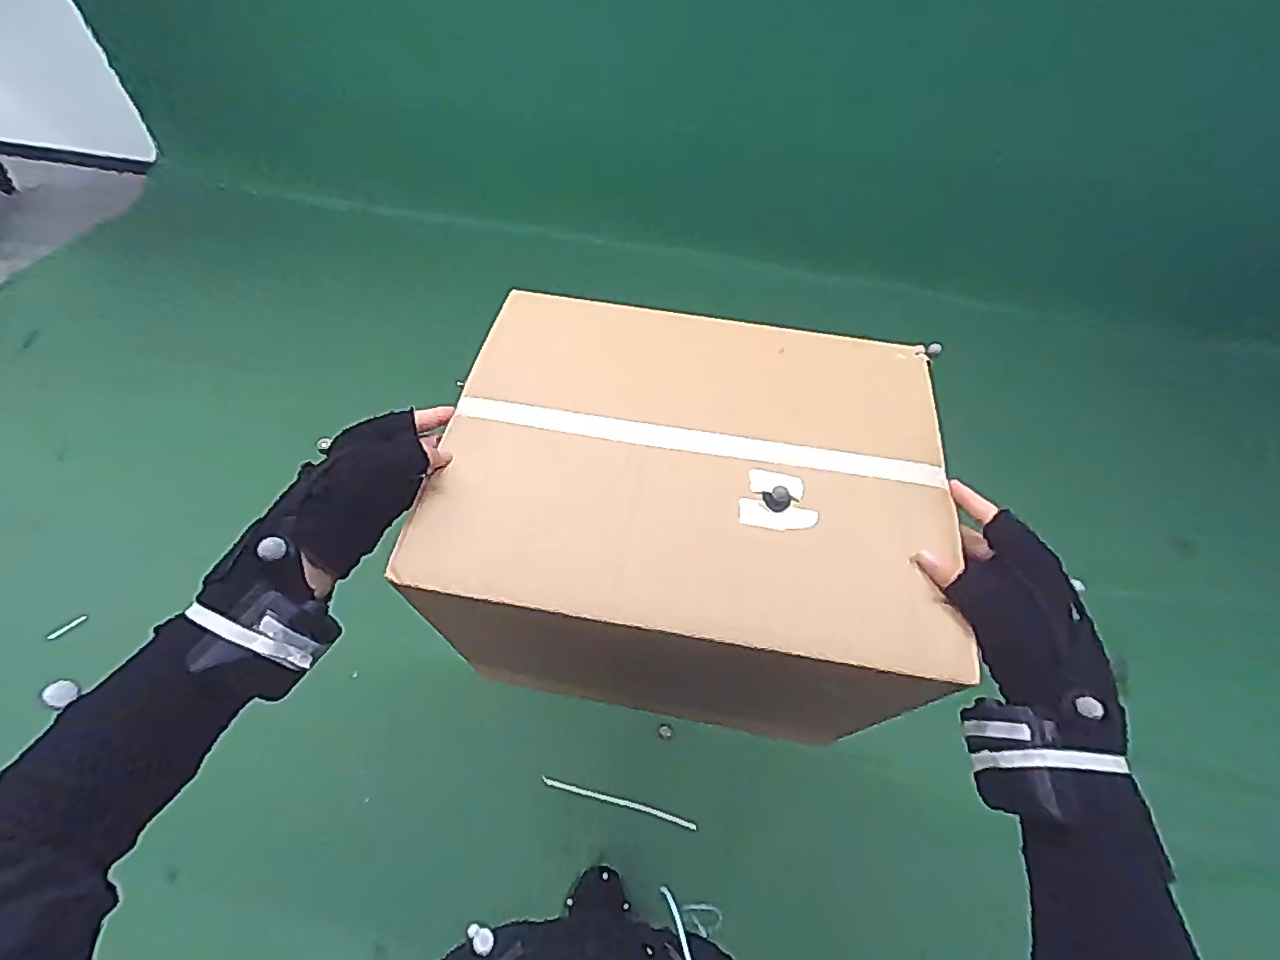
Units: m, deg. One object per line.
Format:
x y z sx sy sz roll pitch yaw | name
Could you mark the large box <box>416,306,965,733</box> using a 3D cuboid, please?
0.045 0.057 0.586 0.408 0.320 0.320 10 58 3 | large box
